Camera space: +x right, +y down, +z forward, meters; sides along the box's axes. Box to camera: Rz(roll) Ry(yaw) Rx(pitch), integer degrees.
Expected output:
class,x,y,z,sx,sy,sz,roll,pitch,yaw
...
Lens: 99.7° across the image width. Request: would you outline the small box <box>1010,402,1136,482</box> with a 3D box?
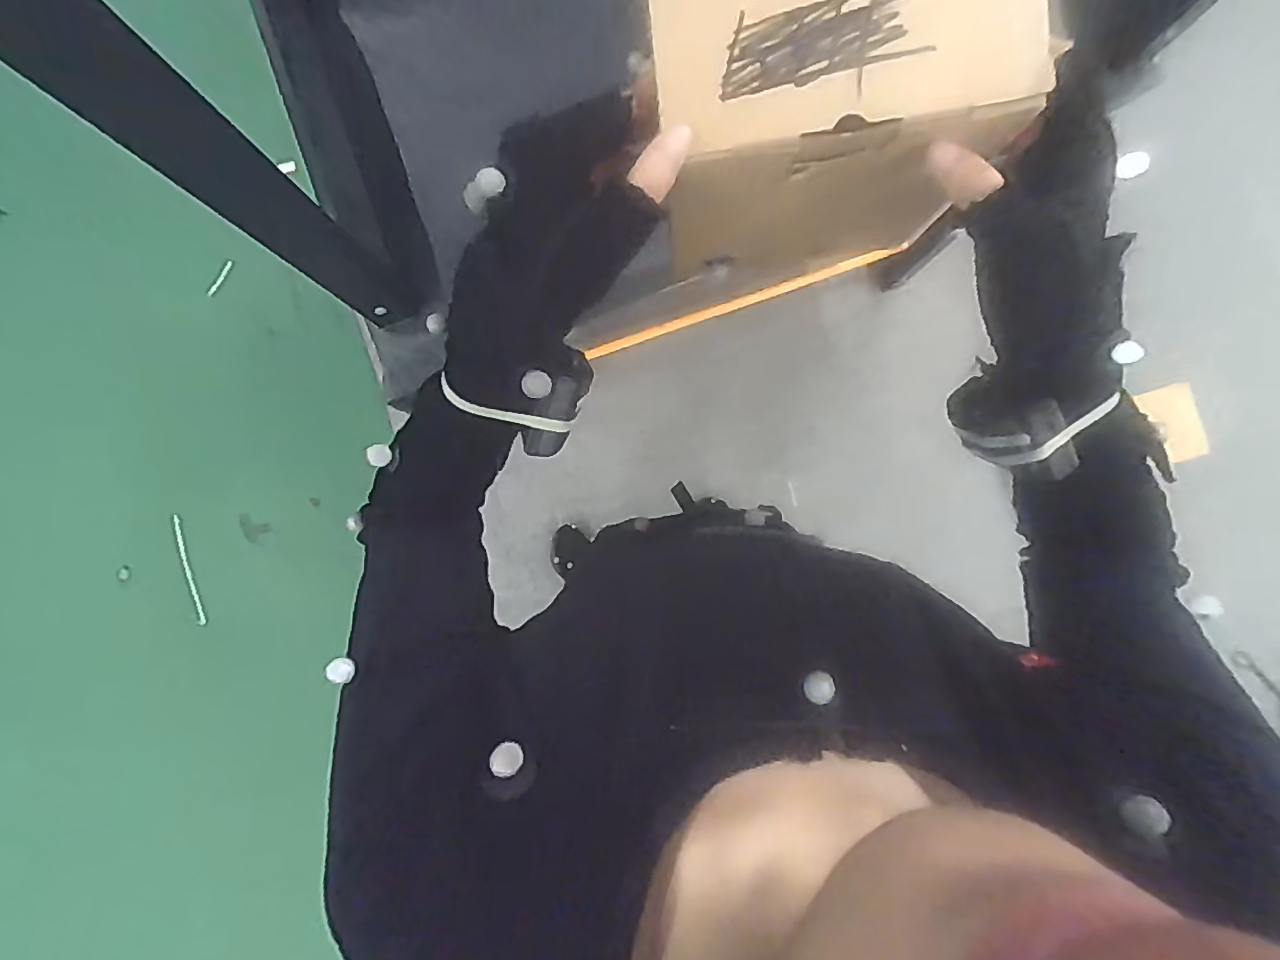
class,x,y,z,sx,sy,sz,roll,pitch,yaw
small box,1.125,-0.093,1.417,0.179,0.176,0.168,-13,86,0
